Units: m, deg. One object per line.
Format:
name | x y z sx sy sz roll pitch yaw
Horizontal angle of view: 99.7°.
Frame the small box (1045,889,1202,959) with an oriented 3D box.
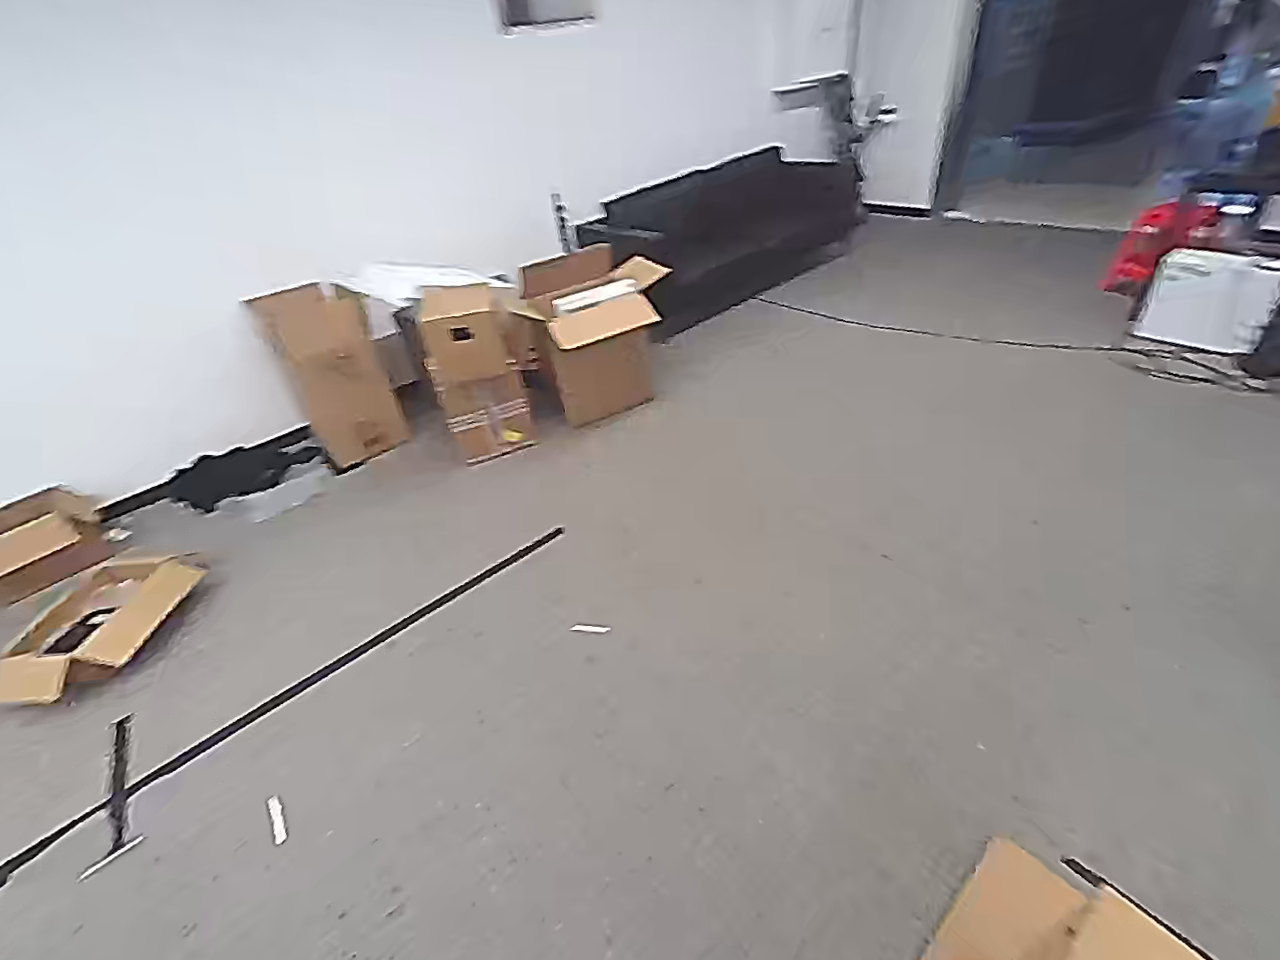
small box | 0.664 0.719 0.734 0.179 0.176 0.168 -31 42 -25
